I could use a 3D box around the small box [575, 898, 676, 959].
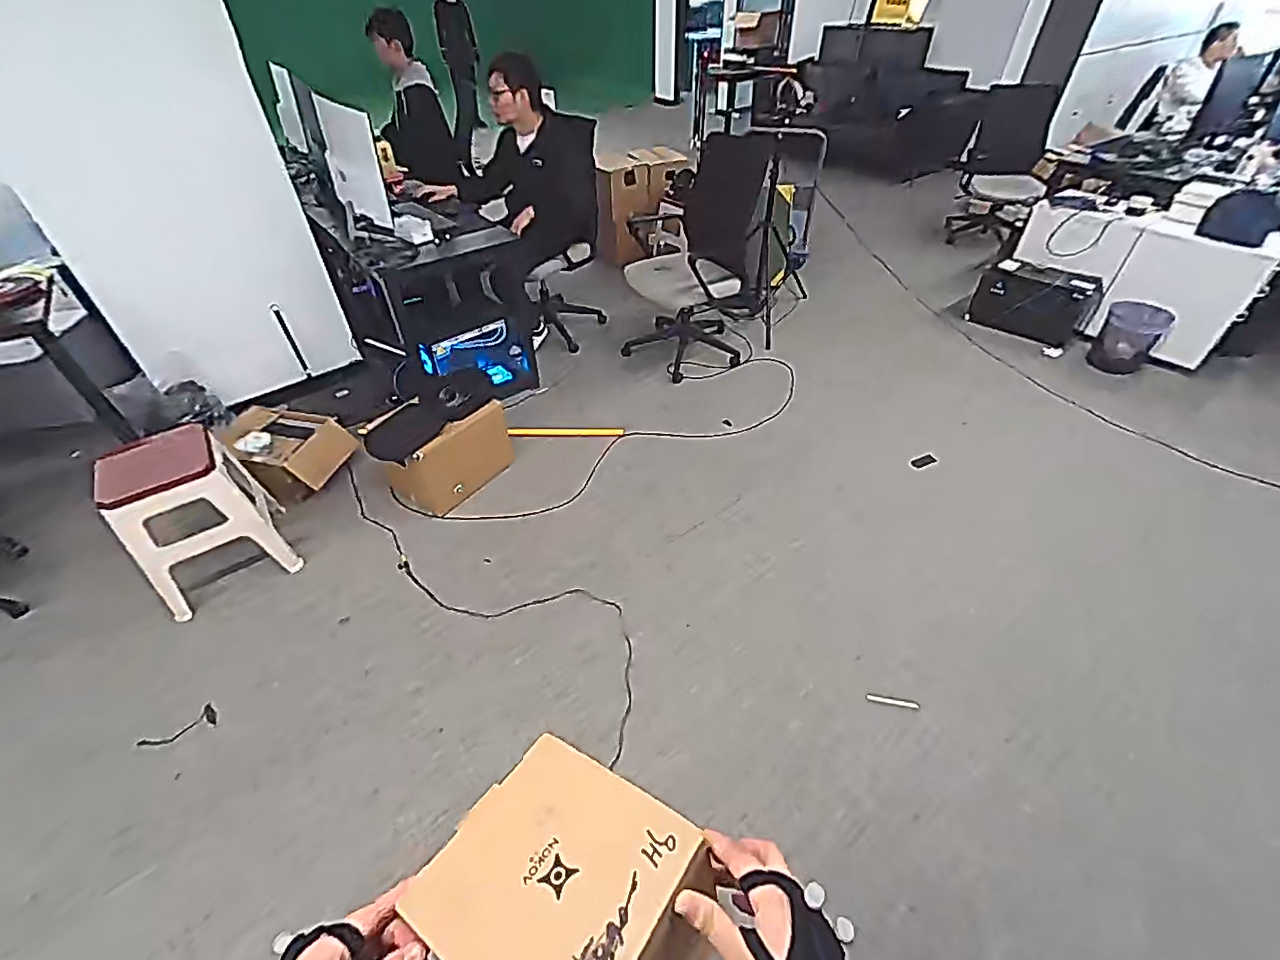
[{"bbox_3d":[-0.027,0.878,0.925,0.179,0.176,0.168,-33,53,-32],"label":"small box"}]
